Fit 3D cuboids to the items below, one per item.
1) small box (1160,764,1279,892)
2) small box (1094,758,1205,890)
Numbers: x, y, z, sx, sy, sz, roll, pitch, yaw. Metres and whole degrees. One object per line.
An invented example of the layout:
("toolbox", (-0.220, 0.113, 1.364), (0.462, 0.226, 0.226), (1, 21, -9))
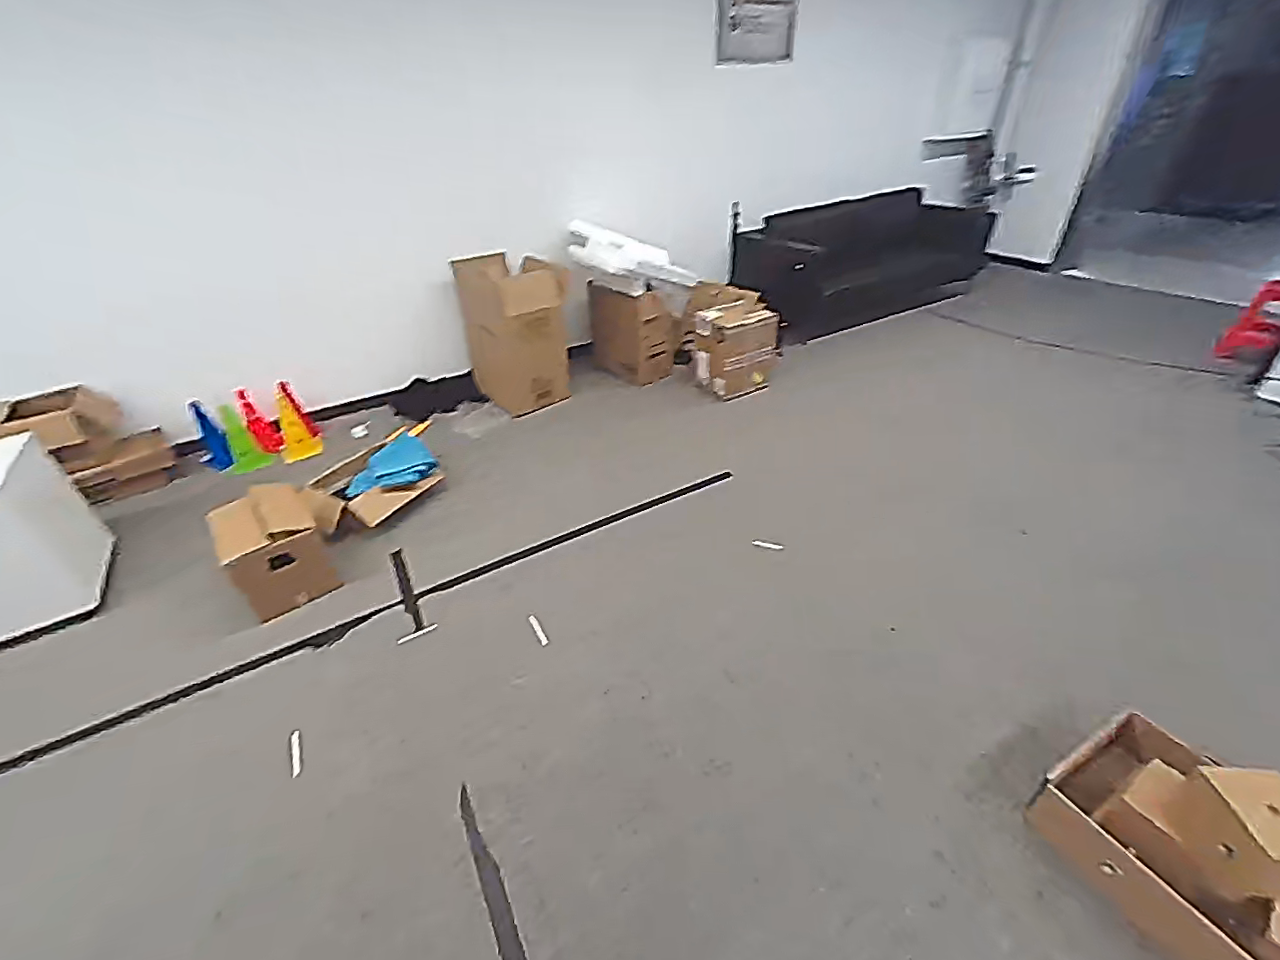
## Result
("small box", (1.251, 0.717, 1.111), (0.168, 0.176, 0.179), (2, 33, 2))
("small box", (1.224, 0.806, 1.269), (0.179, 0.176, 0.168), (-21, 39, -25))
